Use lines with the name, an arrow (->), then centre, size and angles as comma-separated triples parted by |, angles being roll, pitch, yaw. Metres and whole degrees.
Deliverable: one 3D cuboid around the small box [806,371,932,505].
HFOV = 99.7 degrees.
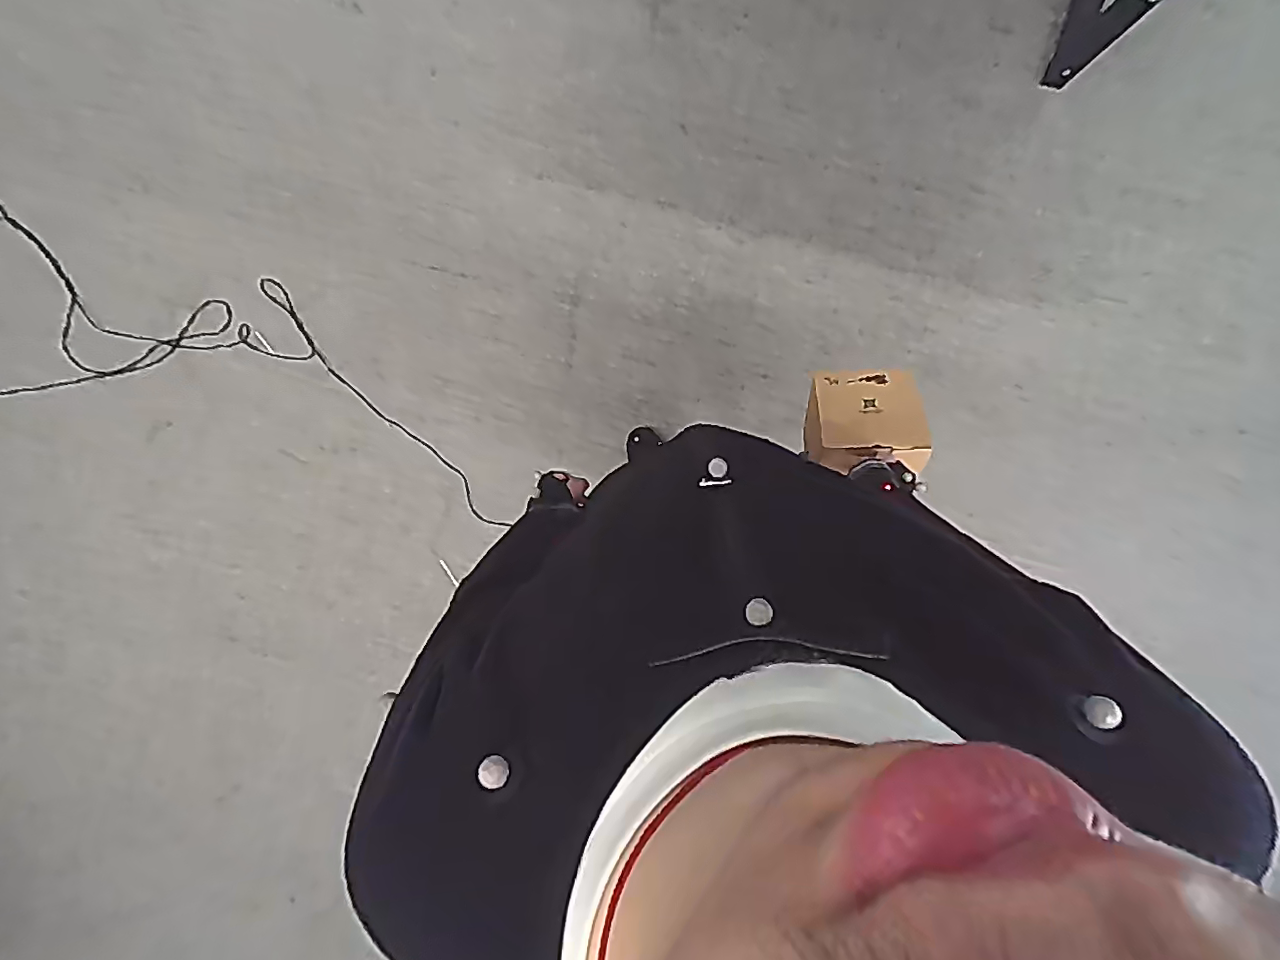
small box -> 0.389, -0.066, 0.952 | 0.168, 0.176, 0.179 | -2, 54, 10
